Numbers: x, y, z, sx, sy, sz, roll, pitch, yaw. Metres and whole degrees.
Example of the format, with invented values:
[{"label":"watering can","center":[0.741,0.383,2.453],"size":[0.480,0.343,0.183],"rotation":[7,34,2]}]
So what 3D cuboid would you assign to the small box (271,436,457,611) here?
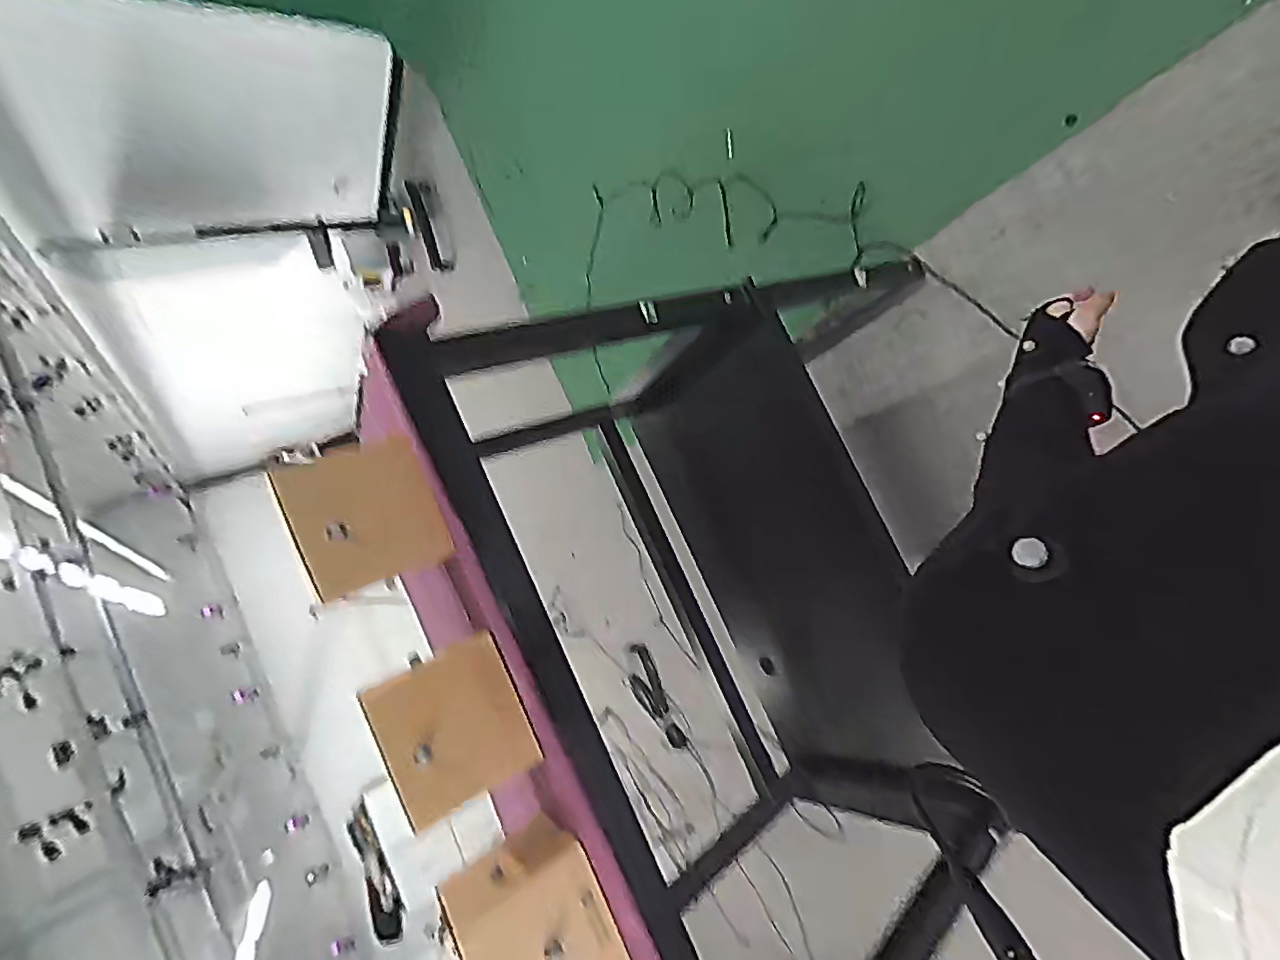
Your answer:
[{"label":"small box","center":[-0.370,0.060,0.734],"size":[0.168,0.176,0.179],"rotation":[-25,87,55]}]

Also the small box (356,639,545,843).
[{"label":"small box","center":[-0.252,0.322,0.714],"size":[0.168,0.176,0.179],"rotation":[-32,82,57]}]

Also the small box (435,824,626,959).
[{"label":"small box","center":[-0.136,0.578,0.687],"size":[0.179,0.176,0.168],"rotation":[-34,79,56]}]
